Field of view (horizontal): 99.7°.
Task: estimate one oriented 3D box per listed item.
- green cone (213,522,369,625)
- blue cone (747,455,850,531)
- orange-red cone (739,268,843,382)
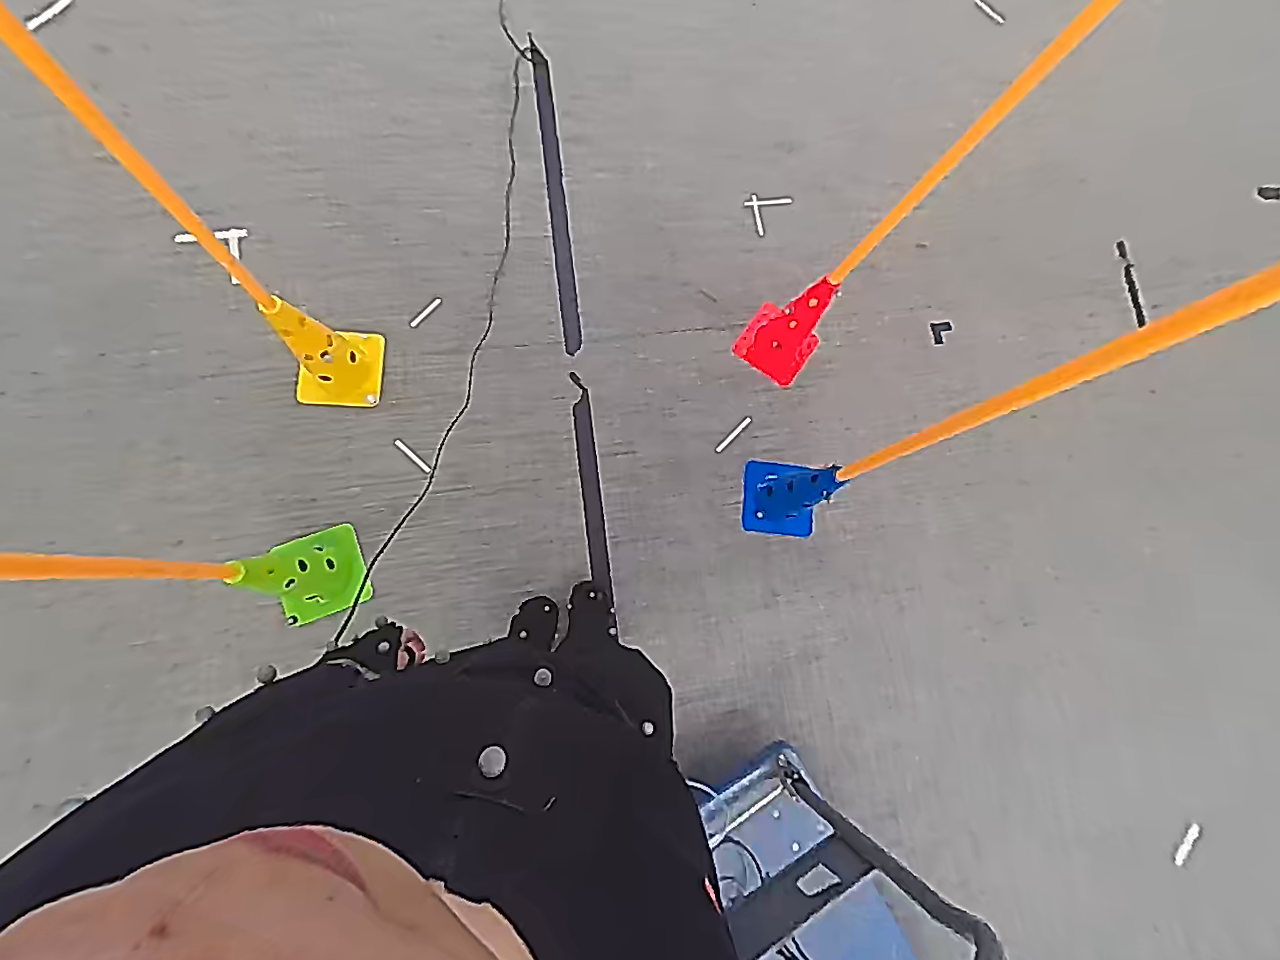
[{"bbox_3d":[-0.746,0.187,1.123,0.200,0.368,0.202,-20,82,-11],"label":"green cone"},{"bbox_3d":[0.406,0.009,1.319,0.193,0.380,0.192,8,78,-6],"label":"blue cone"},{"bbox_3d":[0.424,-0.429,1.387,0.198,0.360,0.199,38,79,1],"label":"orange-red cone"}]
